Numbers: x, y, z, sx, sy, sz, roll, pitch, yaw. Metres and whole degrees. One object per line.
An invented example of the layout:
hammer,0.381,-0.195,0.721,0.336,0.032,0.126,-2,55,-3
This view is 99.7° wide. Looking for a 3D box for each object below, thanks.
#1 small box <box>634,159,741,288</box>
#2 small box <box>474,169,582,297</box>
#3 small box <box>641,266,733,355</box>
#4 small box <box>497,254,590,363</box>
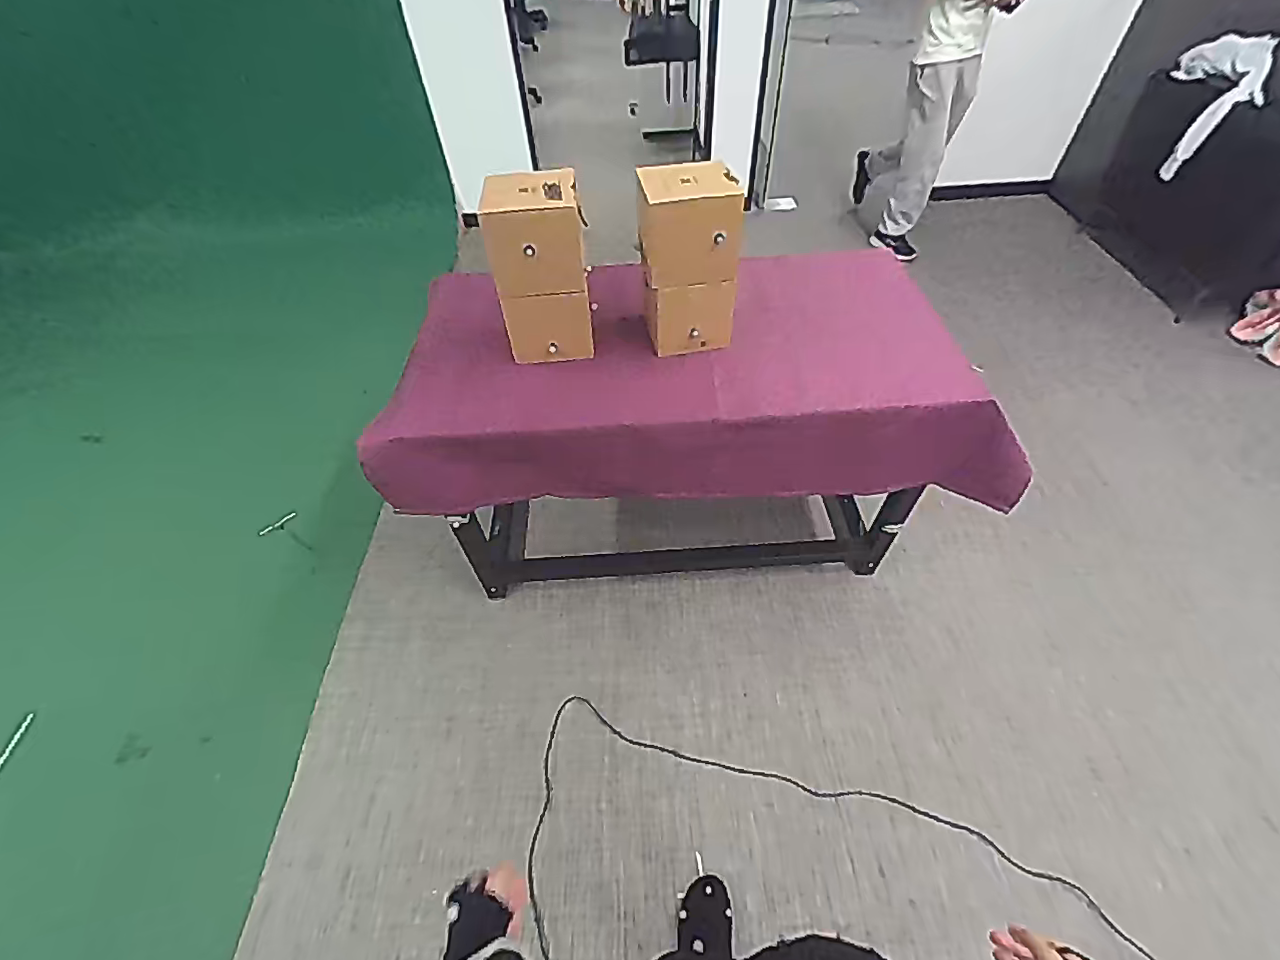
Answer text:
small box,0.087,-0.502,1.064,0.179,0.176,0.168,-8,51,-3
small box,-0.208,-0.479,1.057,0.179,0.176,0.168,-6,51,-1
small box,0.095,-0.402,1.194,0.168,0.176,0.179,-10,52,-4
small box,-0.202,-0.376,1.185,0.179,0.176,0.168,-5,51,-2
